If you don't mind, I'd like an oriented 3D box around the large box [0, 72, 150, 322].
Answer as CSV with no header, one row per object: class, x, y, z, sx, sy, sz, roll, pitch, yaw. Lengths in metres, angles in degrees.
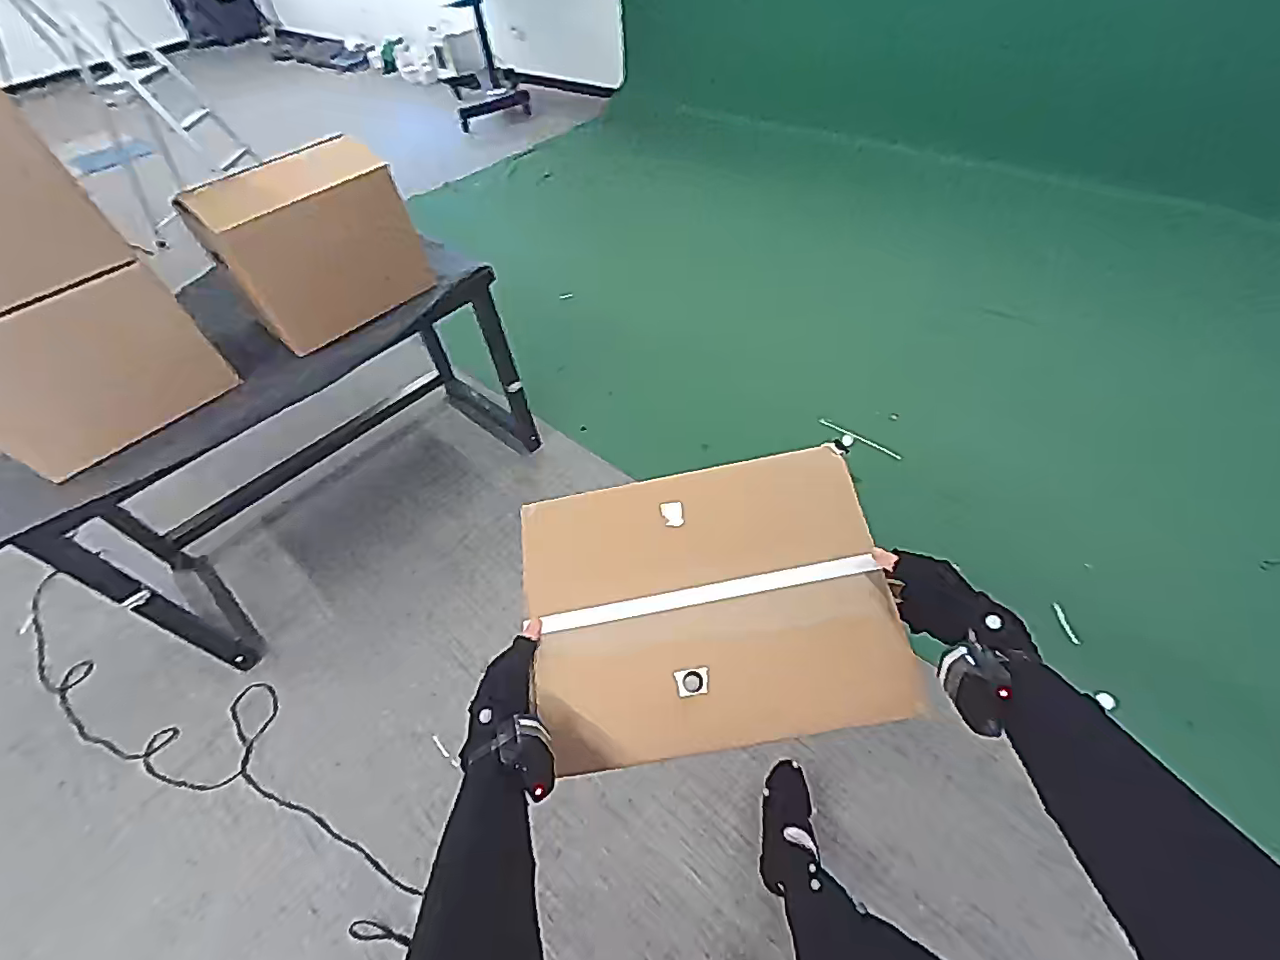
large box,-1.203,-0.478,0.924,0.320,0.320,0.408,33,61,28
